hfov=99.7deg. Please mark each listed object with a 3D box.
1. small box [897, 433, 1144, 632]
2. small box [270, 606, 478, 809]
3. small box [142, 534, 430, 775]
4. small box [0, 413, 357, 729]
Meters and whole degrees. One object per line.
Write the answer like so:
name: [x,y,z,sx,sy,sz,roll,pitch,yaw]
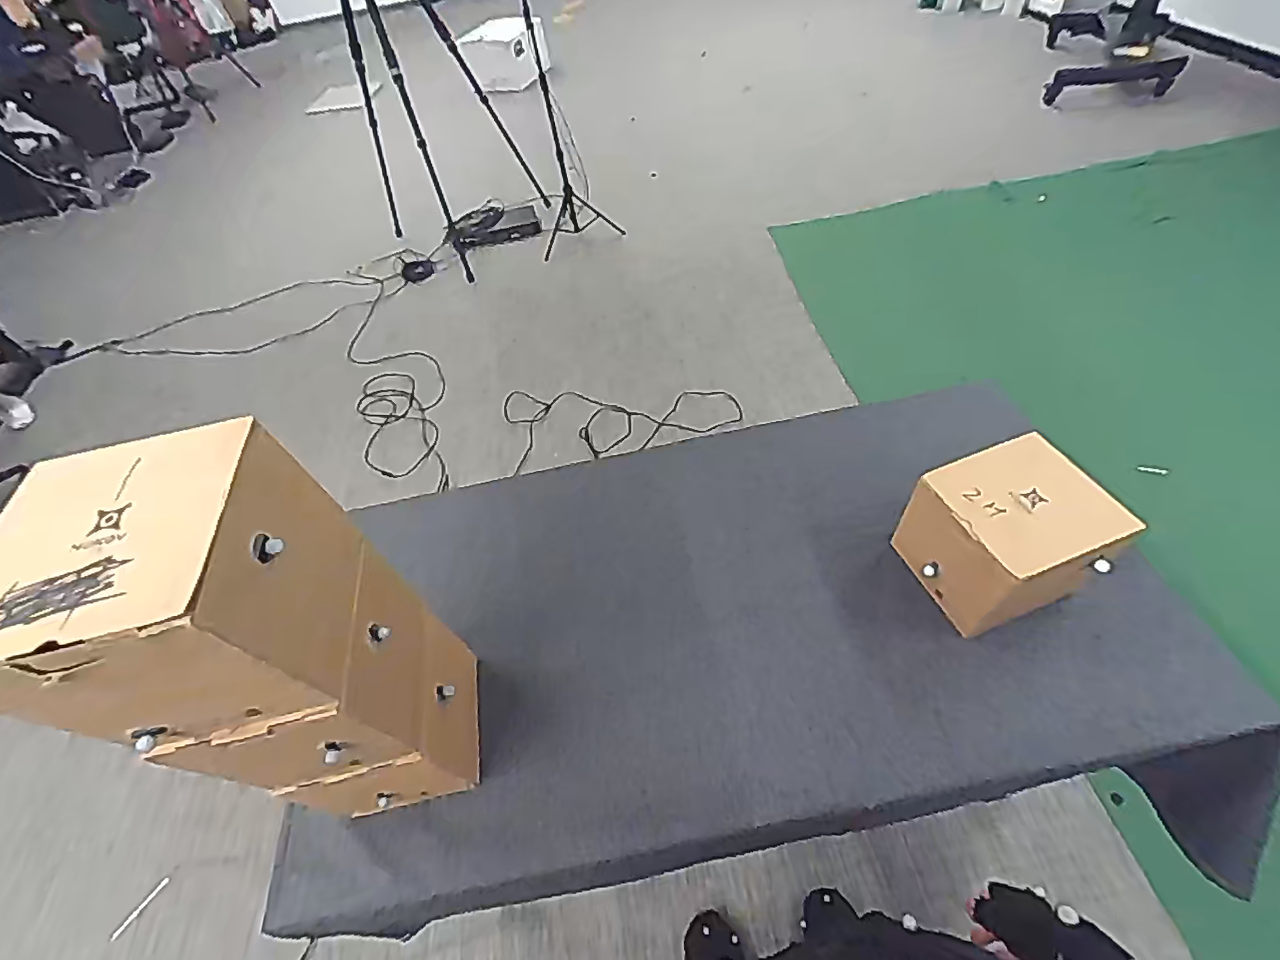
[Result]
small box: [0.475,0.072,0.712,0.179,0.176,0.168,-20,52,-6]
small box: [-0.311,0.286,0.676,0.168,0.176,0.179,-13,52,-2]
small box: [-0.329,0.184,0.550,0.168,0.176,0.179,-12,52,-2]
small box: [-0.349,0.080,0.425,0.168,0.176,0.179,-13,52,-3]
